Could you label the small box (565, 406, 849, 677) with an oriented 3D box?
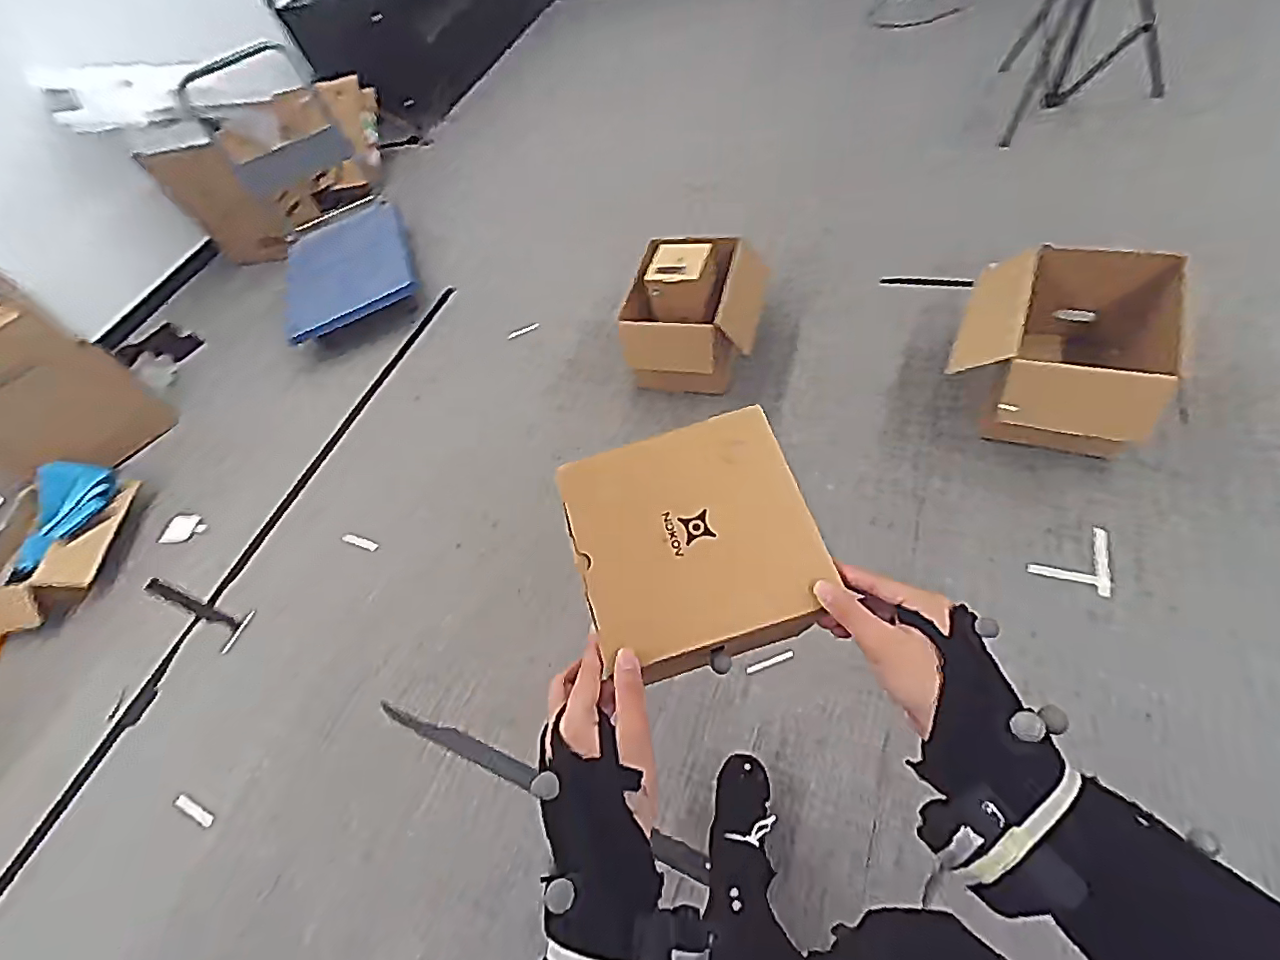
[{"bbox_3d":[0.049,0.065,0.477,0.179,0.176,0.168,-17,66,-2],"label":"small box"}]
